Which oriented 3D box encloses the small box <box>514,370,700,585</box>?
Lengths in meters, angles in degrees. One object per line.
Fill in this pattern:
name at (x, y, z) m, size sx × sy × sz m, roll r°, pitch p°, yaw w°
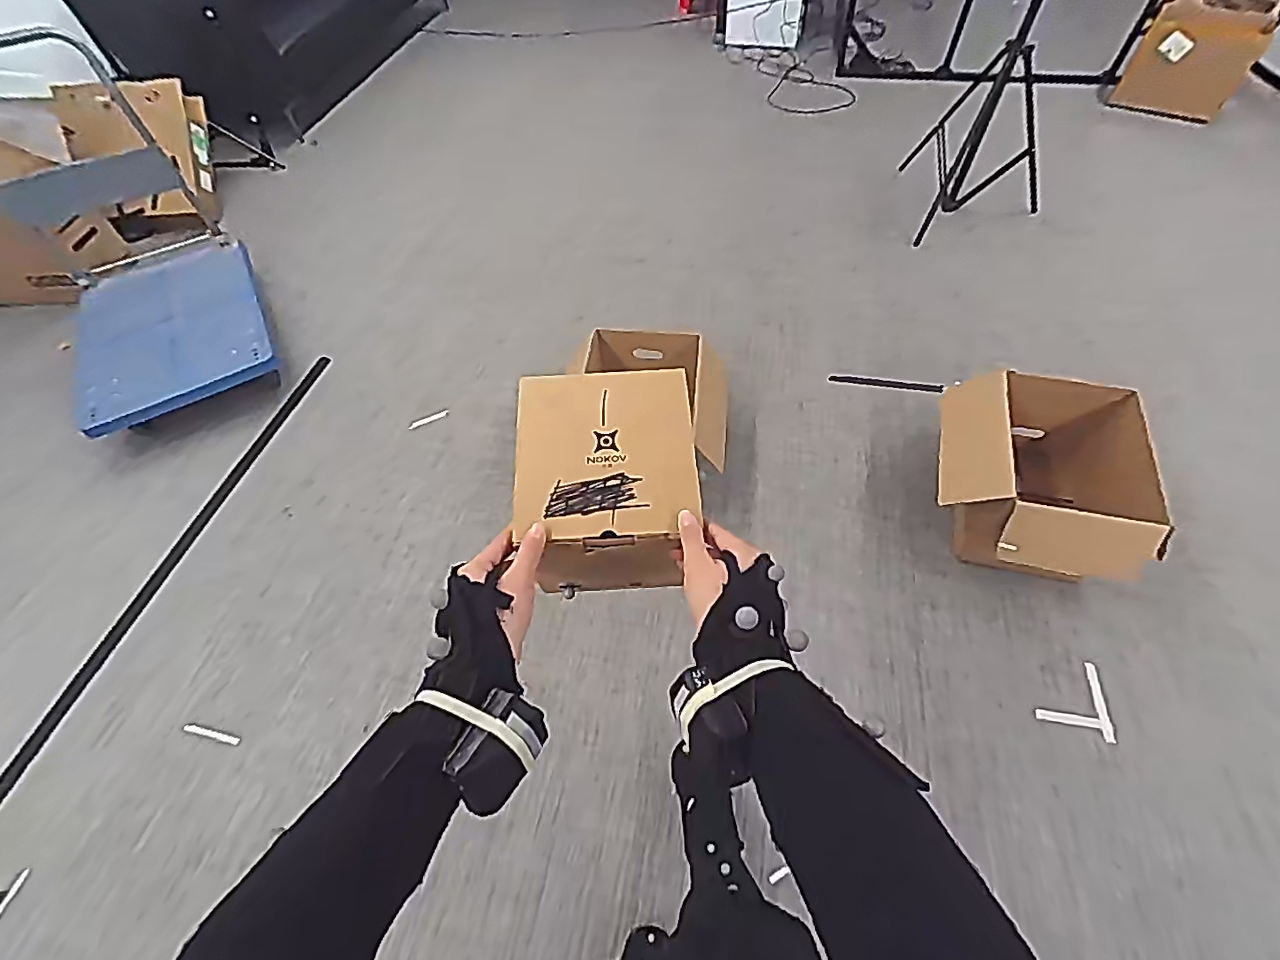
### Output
small box at (-0.031, 0.008, 0.574) m, size 0.168 × 0.176 × 0.179 m, roll -3°, pitch 63°, yaw -2°
